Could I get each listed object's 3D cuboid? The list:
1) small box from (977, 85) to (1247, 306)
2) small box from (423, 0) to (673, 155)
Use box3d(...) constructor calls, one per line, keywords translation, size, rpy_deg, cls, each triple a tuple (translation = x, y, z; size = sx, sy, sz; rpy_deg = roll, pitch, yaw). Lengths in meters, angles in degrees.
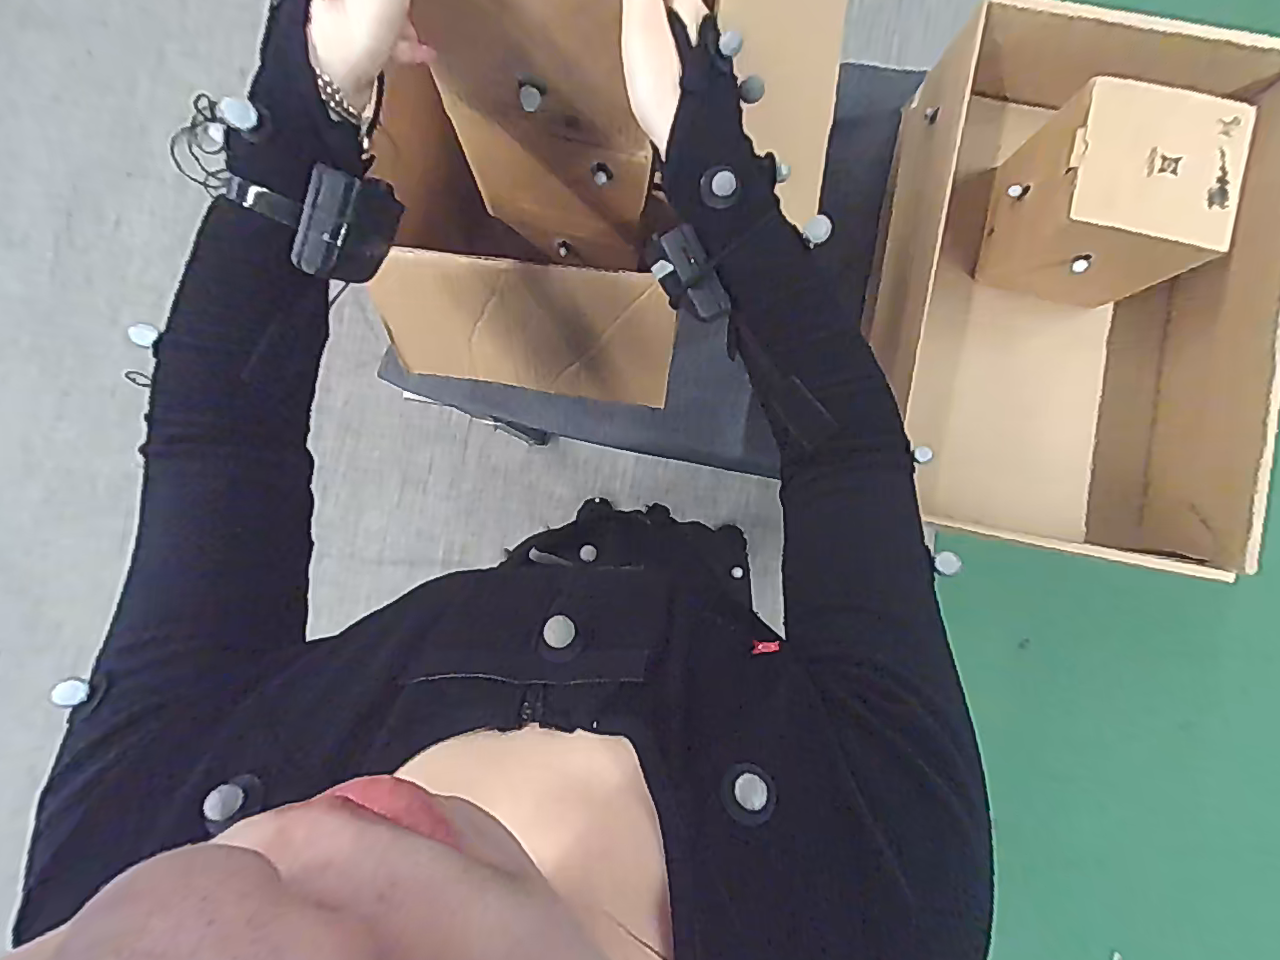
box3d(translation=(0.555, -0.331, 0.663), size=(0.179, 0.176, 0.168), rpy_deg=(13, 89, 3), cls="small box")
box3d(translation=(-0.055, -0.373, 0.374), size=(0.168, 0.176, 0.179), rpy_deg=(9, 87, -4), cls="small box")
